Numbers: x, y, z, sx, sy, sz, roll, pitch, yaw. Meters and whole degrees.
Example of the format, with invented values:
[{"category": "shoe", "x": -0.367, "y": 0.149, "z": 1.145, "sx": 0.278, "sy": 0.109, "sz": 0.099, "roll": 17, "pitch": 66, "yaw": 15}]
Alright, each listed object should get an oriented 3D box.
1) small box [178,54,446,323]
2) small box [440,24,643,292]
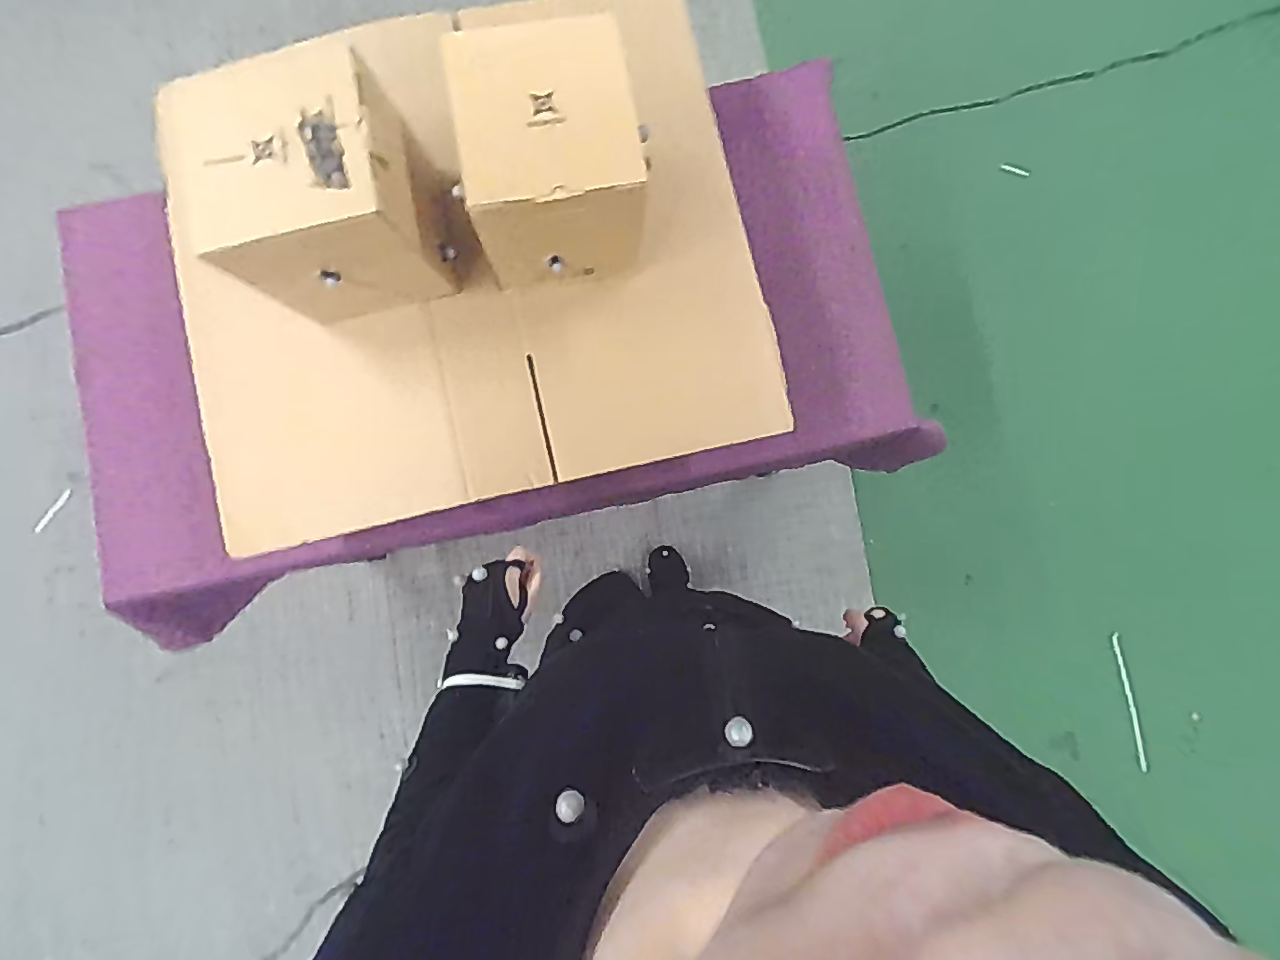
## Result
[{"category": "small box", "x": -0.323, "y": -0.286, "z": 0.570, "sx": 0.179, "sy": 0.176, "sz": 0.168, "roll": -12, "pitch": 85, "yaw": 4}, {"category": "small box", "x": -0.098, "y": -0.330, "z": 0.582, "sx": 0.168, "sy": 0.176, "sz": 0.179, "roll": -11, "pitch": 85, "yaw": -4}]
